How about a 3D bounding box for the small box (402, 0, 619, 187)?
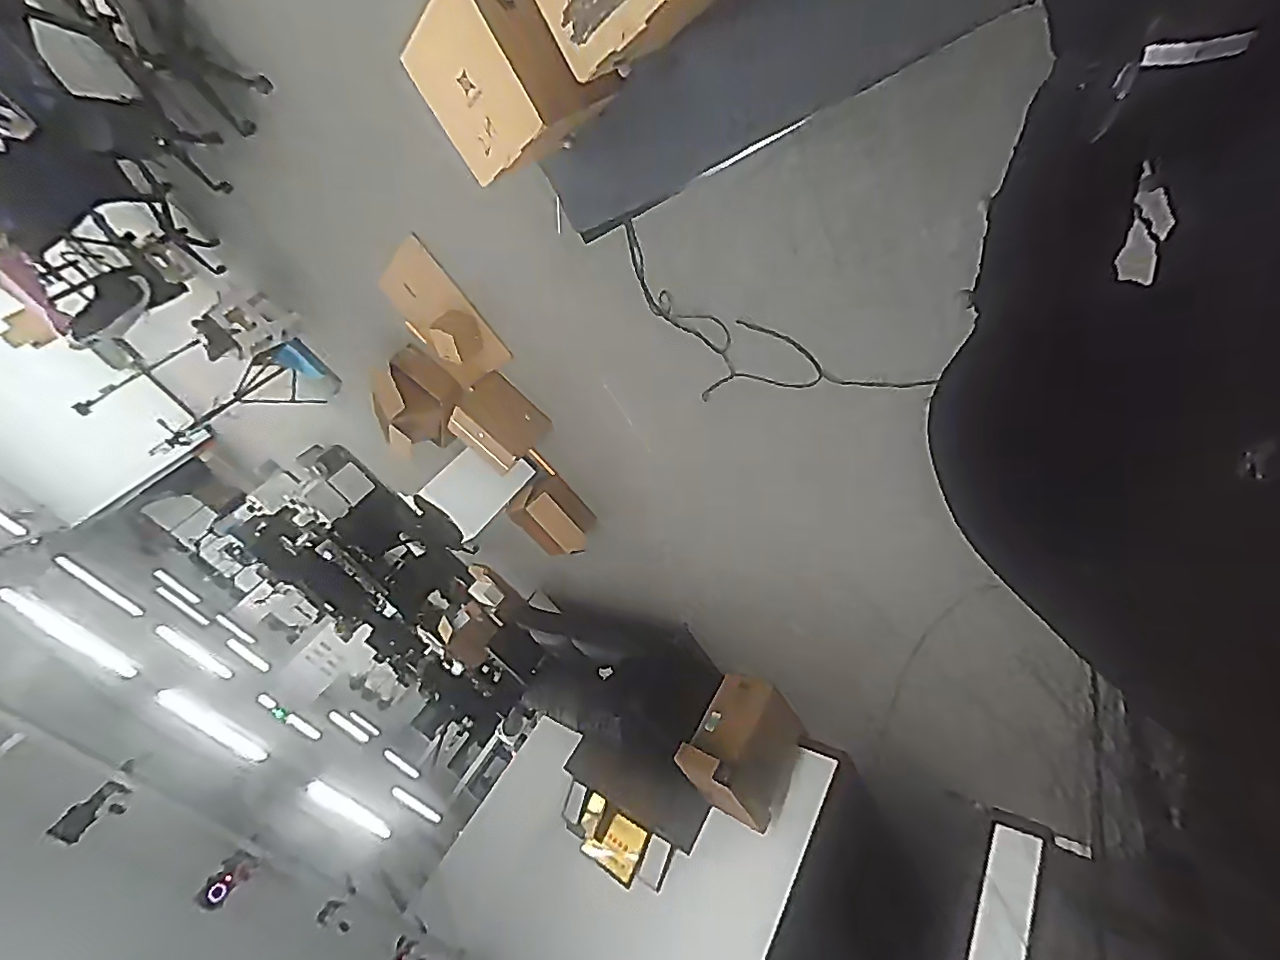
[{"bbox_3d":[-0.163,-0.530,0.708,0.168,0.176,0.179,-5,127,48],"label":"small box"}]
